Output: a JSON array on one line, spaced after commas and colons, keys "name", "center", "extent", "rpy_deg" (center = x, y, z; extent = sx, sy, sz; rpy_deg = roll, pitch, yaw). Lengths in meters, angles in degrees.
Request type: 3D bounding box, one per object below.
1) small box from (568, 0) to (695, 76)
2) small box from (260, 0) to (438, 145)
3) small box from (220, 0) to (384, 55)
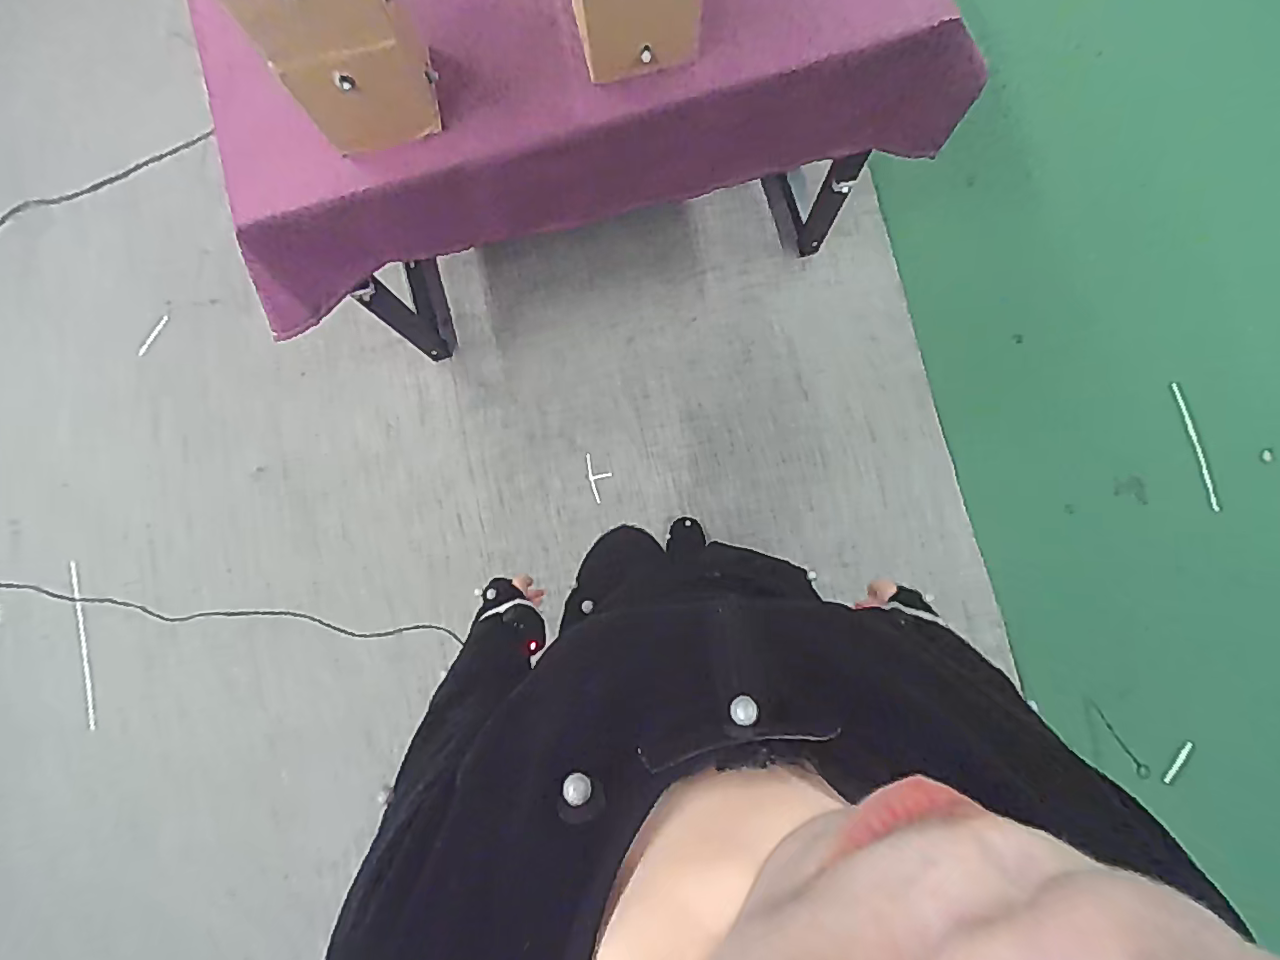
[{"name": "small box", "center": [-0.019, -0.748, 0.795], "extent": [0.179, 0.176, 0.168], "rpy_deg": [-13, 83, 0]}, {"name": "small box", "center": [-0.425, -0.634, 0.796], "extent": [0.179, 0.176, 0.168], "rpy_deg": [-12, 84, 0]}, {"name": "small box", "center": [-0.425, -0.655, 0.634], "extent": [0.179, 0.176, 0.168], "rpy_deg": [-13, 84, 2]}]
